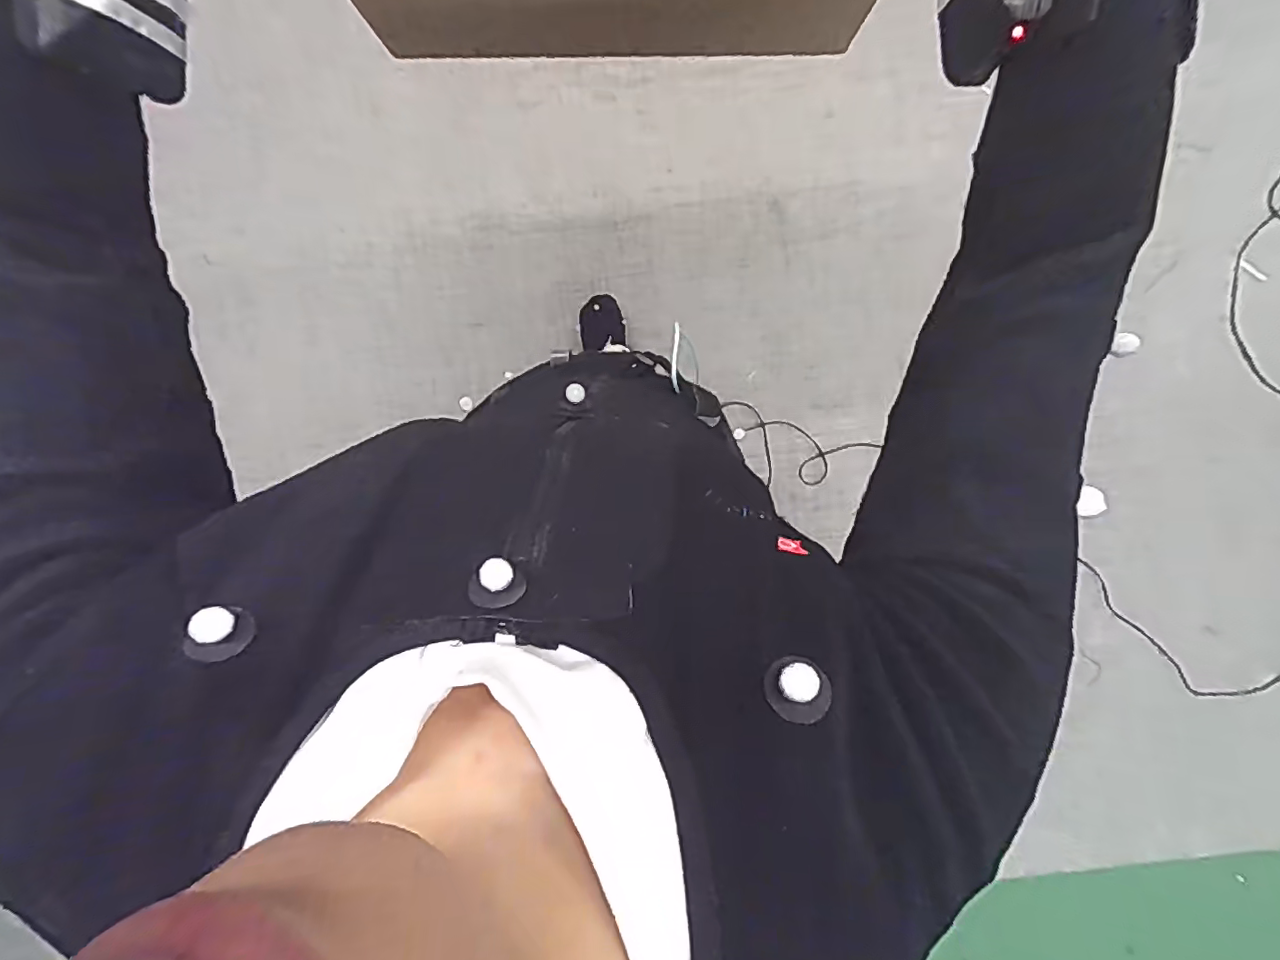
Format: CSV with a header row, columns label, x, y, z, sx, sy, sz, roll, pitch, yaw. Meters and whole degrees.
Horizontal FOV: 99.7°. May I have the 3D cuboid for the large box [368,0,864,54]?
label,x,y,z,sx,sy,sz,roll,pitch,yaw
large box,-0.019,-0.508,0.312,0.408,0.320,0.320,-1,100,-1
